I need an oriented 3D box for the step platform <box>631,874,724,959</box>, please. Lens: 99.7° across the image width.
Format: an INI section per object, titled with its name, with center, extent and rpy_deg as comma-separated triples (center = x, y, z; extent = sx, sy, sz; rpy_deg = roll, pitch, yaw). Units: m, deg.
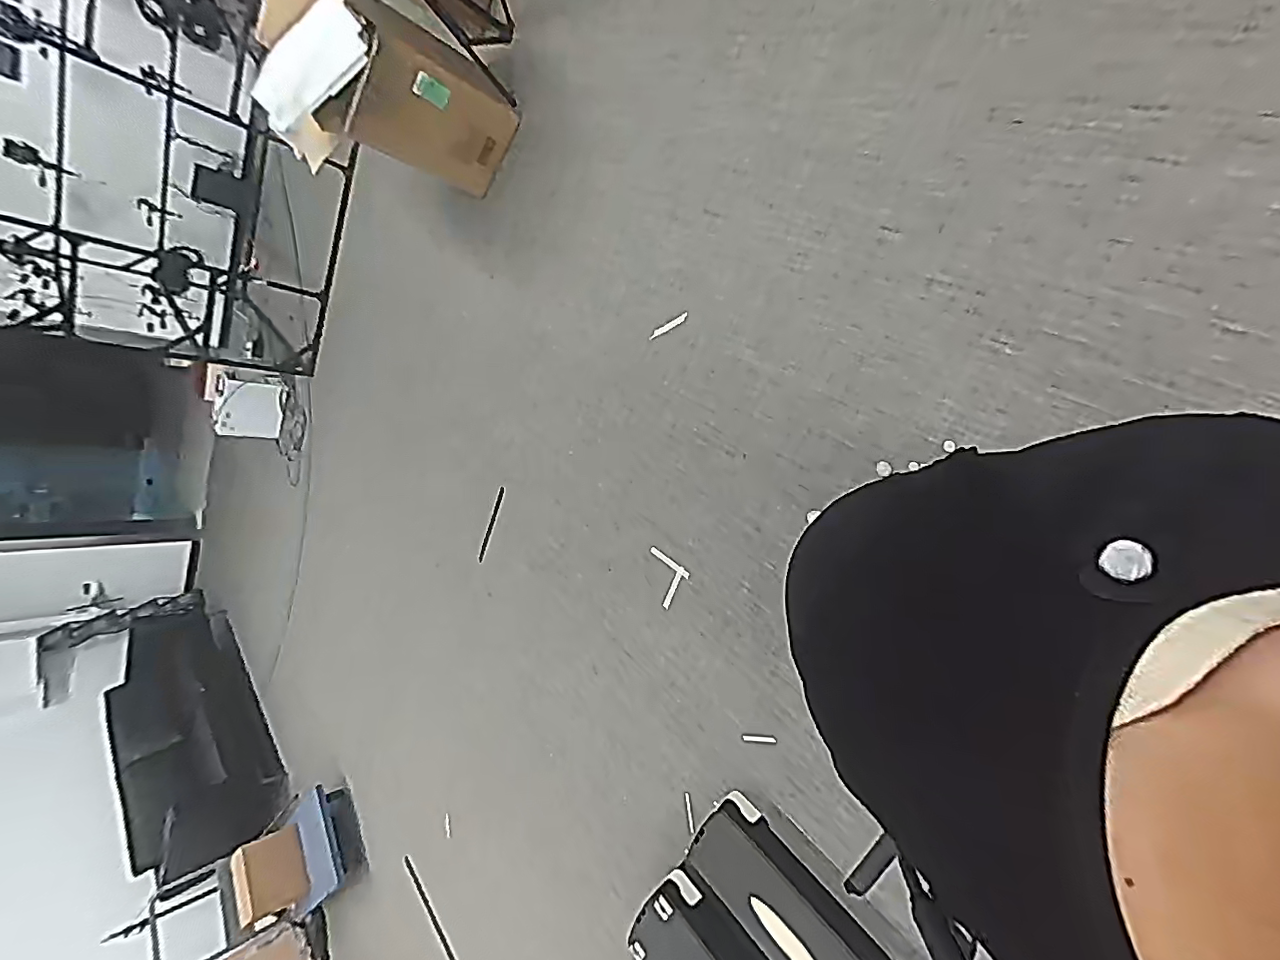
[step platform]
center = 0.271, 1.488, 1.451
extent = 0.684, 0.204, 0.286
rpy_deg = 43, 115, 36
